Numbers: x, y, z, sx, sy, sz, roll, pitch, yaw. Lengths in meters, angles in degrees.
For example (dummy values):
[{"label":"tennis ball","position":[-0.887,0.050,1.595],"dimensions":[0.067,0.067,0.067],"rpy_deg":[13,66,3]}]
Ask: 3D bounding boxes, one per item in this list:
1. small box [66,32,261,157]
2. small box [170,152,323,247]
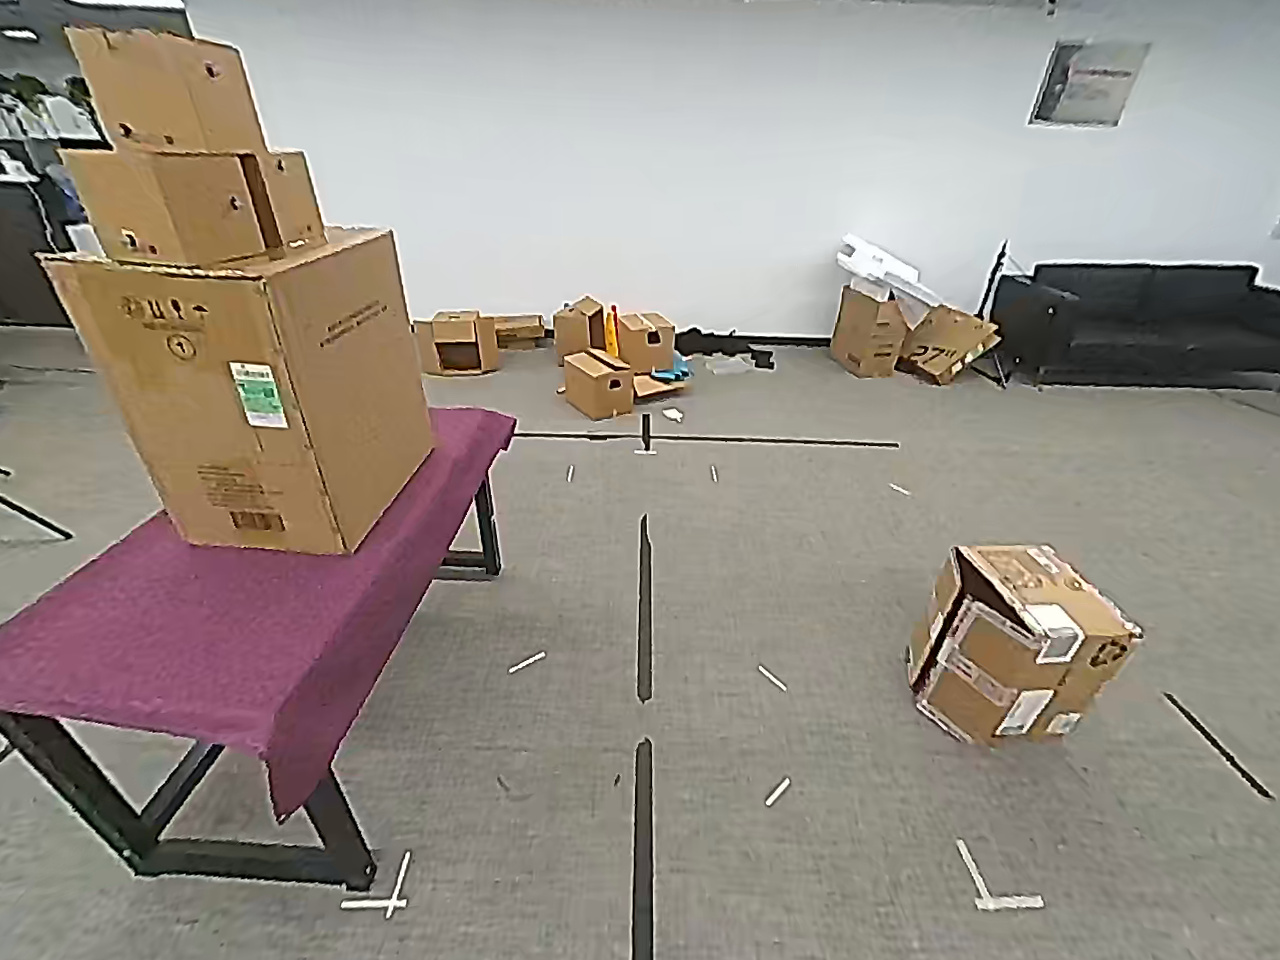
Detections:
[{"label":"small box","position":[-0.821,-0.673,0.960],"dimensions":[0.168,0.176,0.179],"rpy_deg":[2,31,-1]},{"label":"small box","position":[-0.820,-0.597,1.147],"dimensions":[0.179,0.176,0.168],"rpy_deg":[2,33,2]}]
